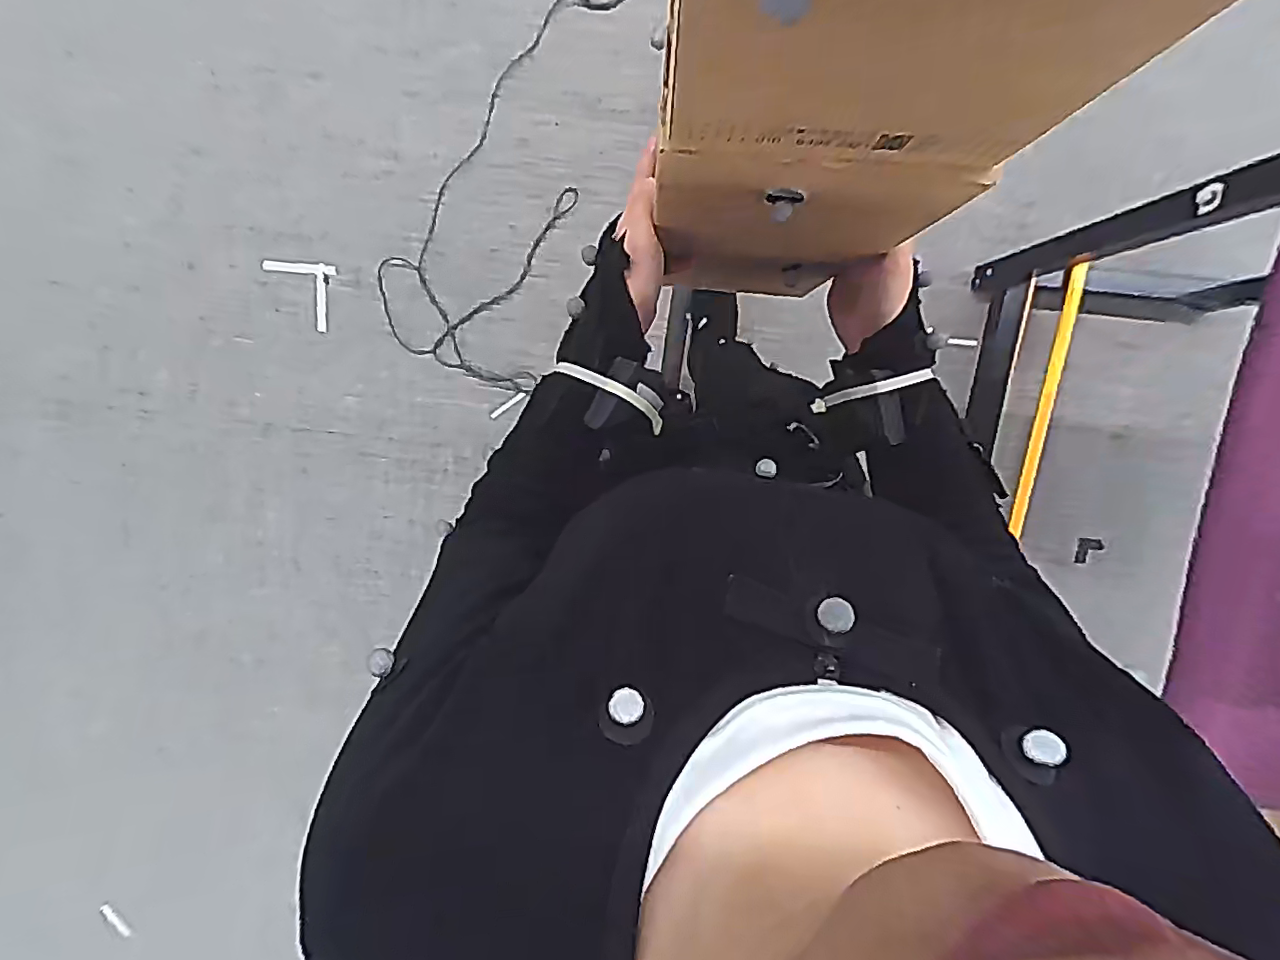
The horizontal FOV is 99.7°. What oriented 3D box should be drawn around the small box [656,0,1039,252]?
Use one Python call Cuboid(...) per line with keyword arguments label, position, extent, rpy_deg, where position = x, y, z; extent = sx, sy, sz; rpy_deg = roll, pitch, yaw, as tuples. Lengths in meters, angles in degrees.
Cuboid(label="small box", position=(0.103, -0.252, 0.334), extent=(0.179, 0.176, 0.168), rpy_deg=(5, 98, -1))
